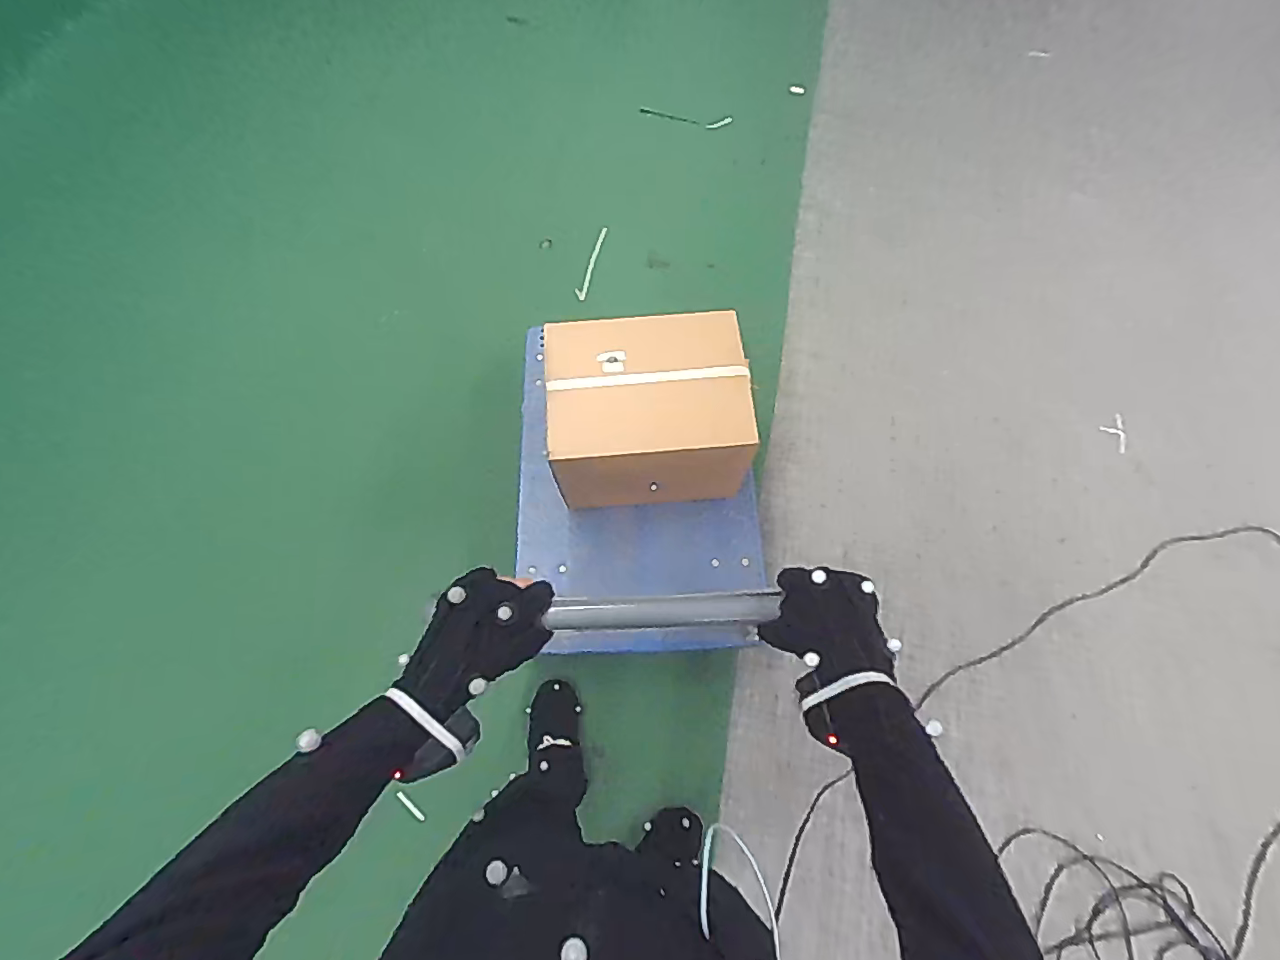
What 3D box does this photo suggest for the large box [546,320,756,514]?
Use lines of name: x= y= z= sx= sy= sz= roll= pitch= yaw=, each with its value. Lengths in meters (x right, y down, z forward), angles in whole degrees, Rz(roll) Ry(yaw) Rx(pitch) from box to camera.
large box: x=0.017 y=-0.126 z=1.231 sx=0.408 sy=0.320 sz=0.320 roll=-5 pitch=68 yaw=-1
